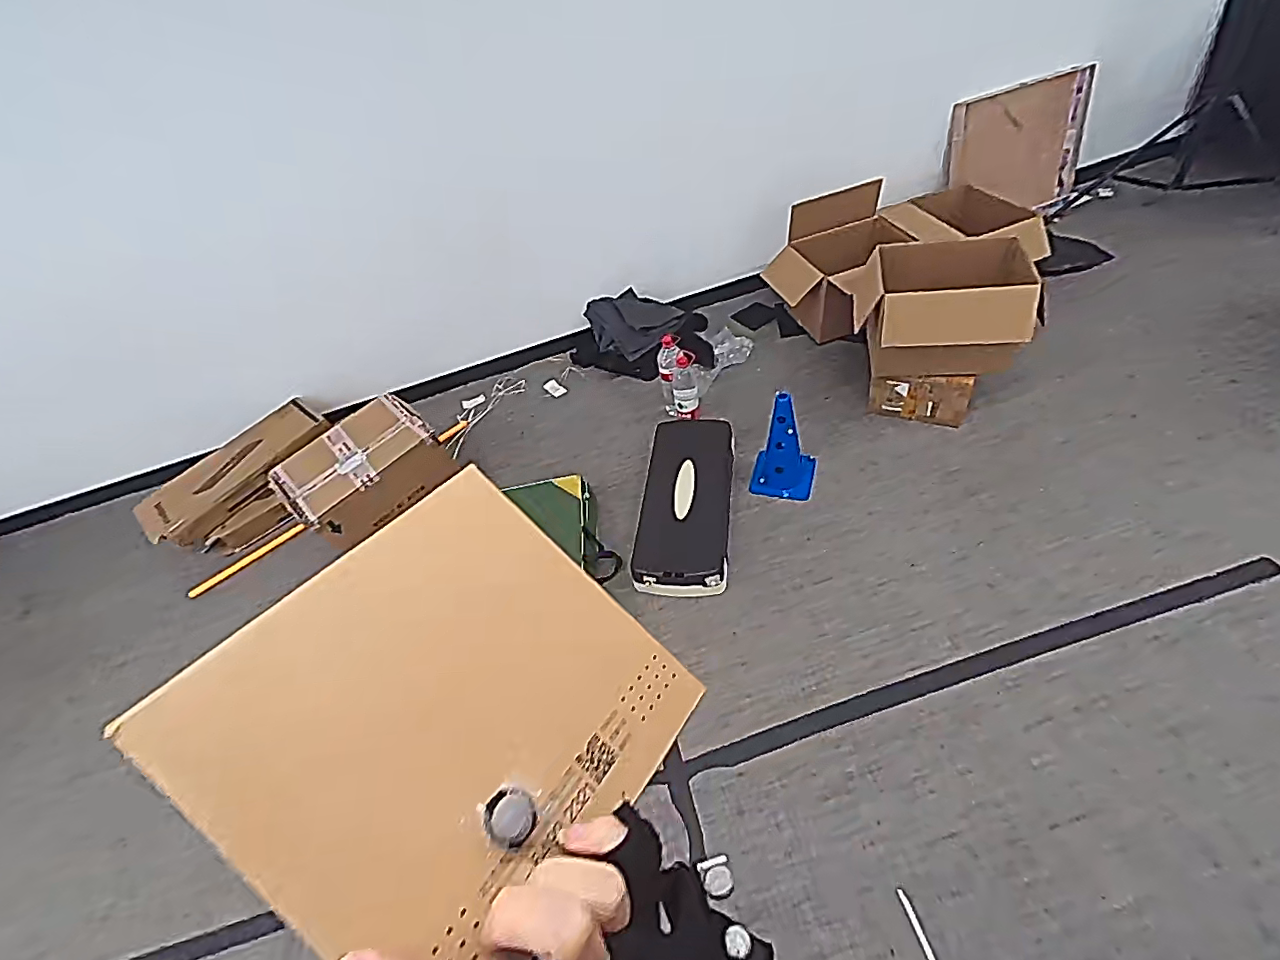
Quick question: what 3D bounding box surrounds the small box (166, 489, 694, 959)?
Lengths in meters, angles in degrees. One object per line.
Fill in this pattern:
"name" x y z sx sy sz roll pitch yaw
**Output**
"small box" -0.101 0.144 0.311 0.176 0.179 0.168 42 55 4
